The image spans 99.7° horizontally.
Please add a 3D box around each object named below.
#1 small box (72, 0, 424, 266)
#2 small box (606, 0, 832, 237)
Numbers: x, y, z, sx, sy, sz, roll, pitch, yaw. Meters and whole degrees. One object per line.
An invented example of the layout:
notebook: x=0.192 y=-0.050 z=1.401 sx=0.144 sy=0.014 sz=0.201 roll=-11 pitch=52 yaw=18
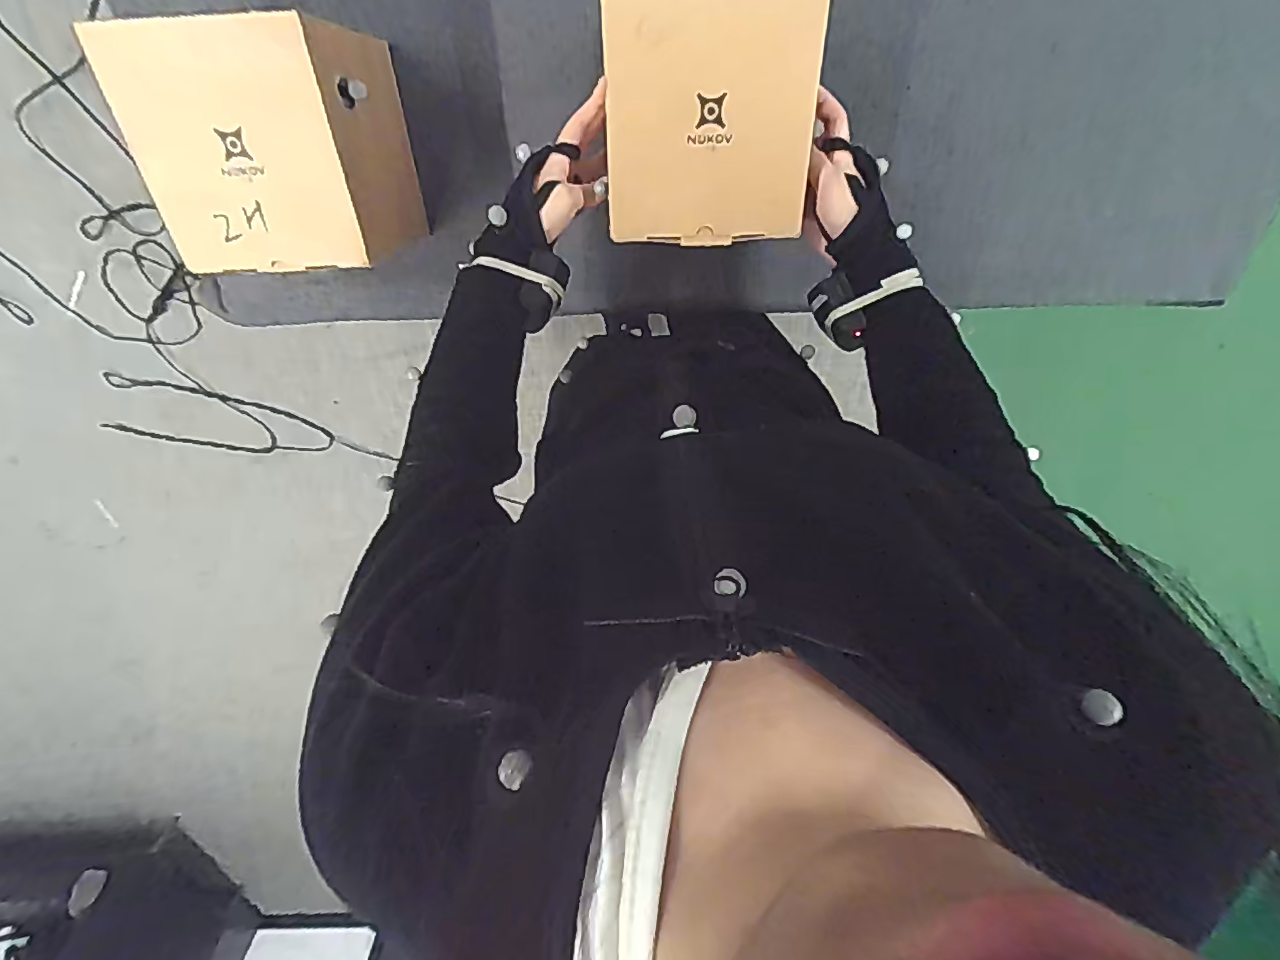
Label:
small box: x=-0.320 y=-0.303 z=0.492 sx=0.168 sy=0.176 sz=0.179 roll=-1 pitch=123 yaw=1
small box: x=0.055 y=-0.324 z=0.486 sx=0.168 sy=0.176 sz=0.179 roll=-1 pitch=122 yaw=0
